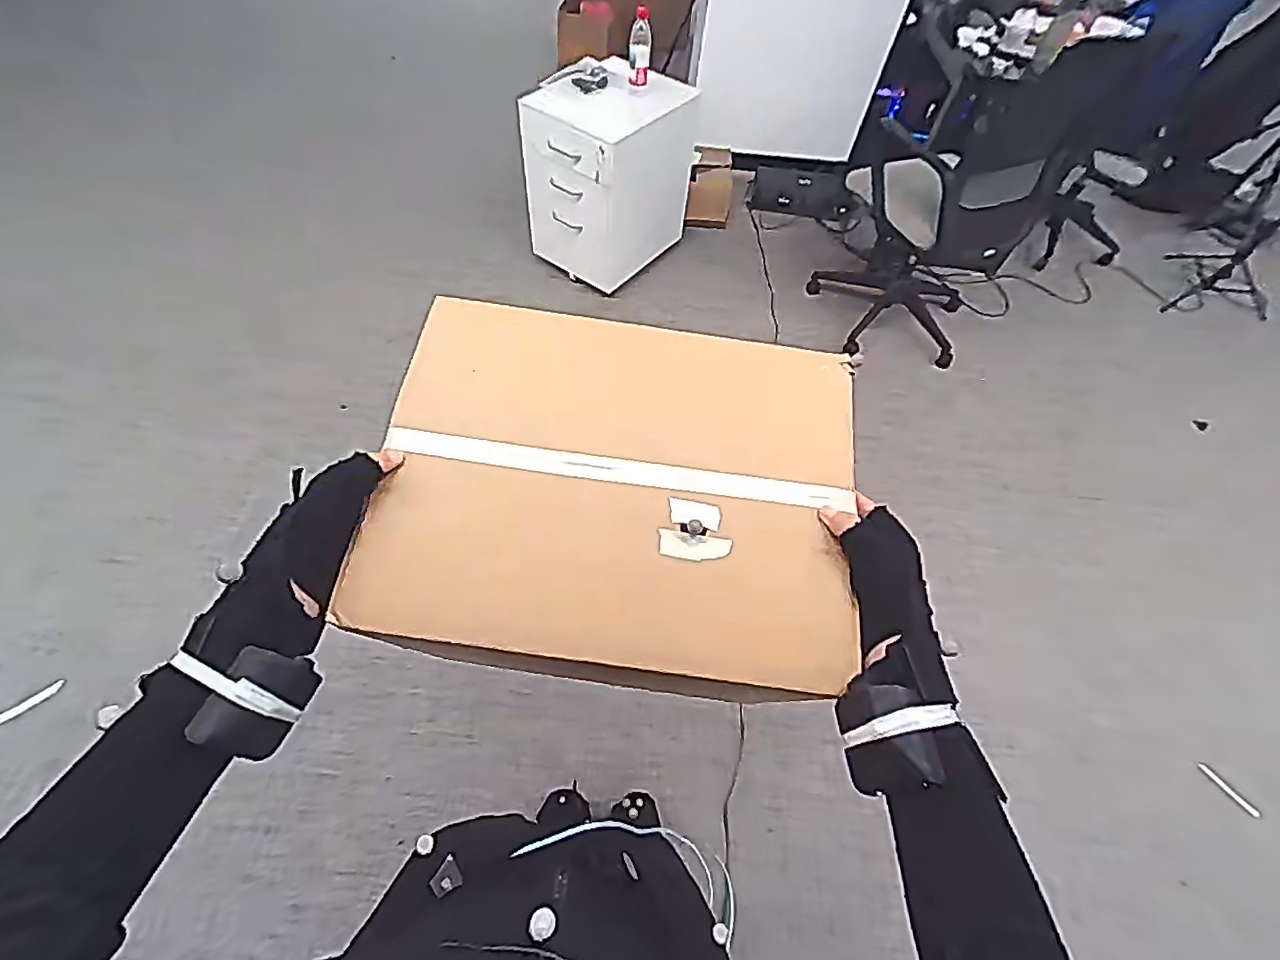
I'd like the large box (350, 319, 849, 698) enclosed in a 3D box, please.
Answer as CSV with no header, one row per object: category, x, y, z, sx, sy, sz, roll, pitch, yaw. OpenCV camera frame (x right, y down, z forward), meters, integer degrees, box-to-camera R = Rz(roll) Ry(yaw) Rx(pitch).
large box,-0.026,0.060,0.616,0.408,0.320,0.320,8,68,-1
